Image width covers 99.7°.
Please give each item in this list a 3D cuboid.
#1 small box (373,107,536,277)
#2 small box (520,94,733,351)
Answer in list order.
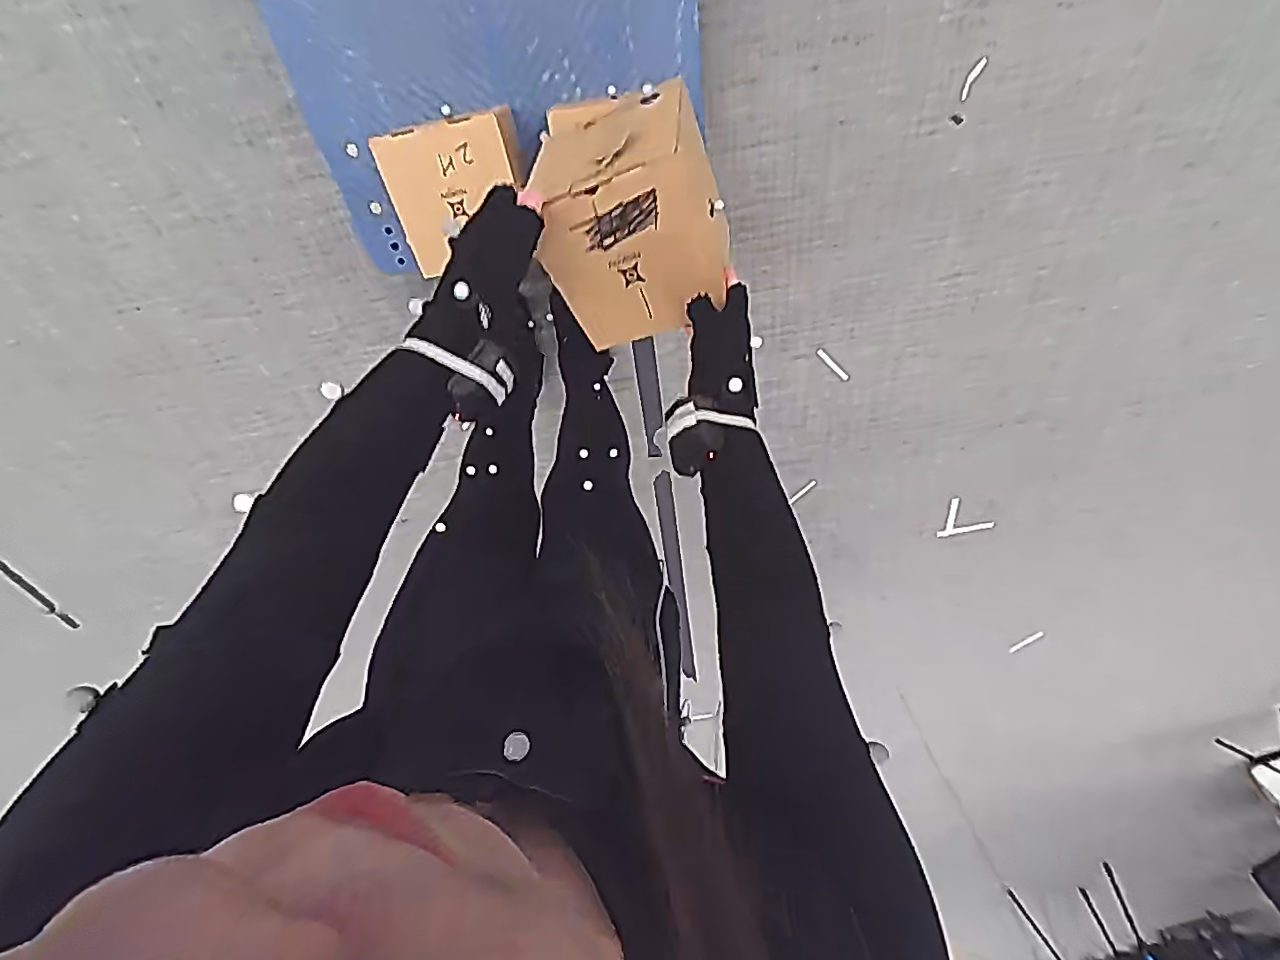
[{"bbox_3d":[-0.247,-0.421,0.786,0.168,0.176,0.179,-10,127,2],"label":"small box"},{"bbox_3d":[-0.003,-0.278,0.589,0.168,0.176,0.179,-11,143,23],"label":"small box"}]
